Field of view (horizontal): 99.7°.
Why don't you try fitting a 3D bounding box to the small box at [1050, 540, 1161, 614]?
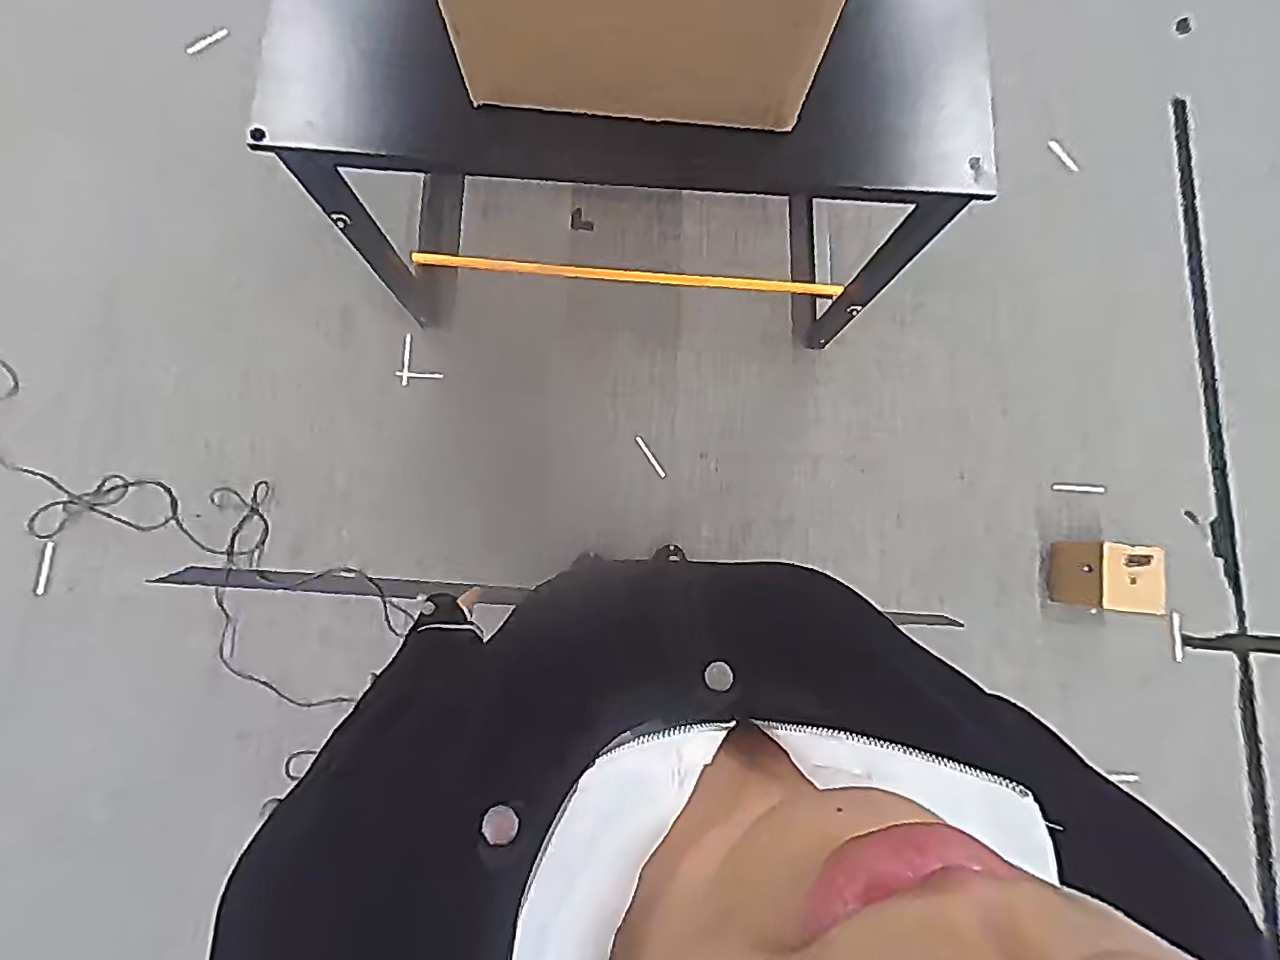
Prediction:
[{"bbox_3d":[1.269,0.263,1.483,0.168,0.176,0.179,7,83,-2],"label":"small box"}]
